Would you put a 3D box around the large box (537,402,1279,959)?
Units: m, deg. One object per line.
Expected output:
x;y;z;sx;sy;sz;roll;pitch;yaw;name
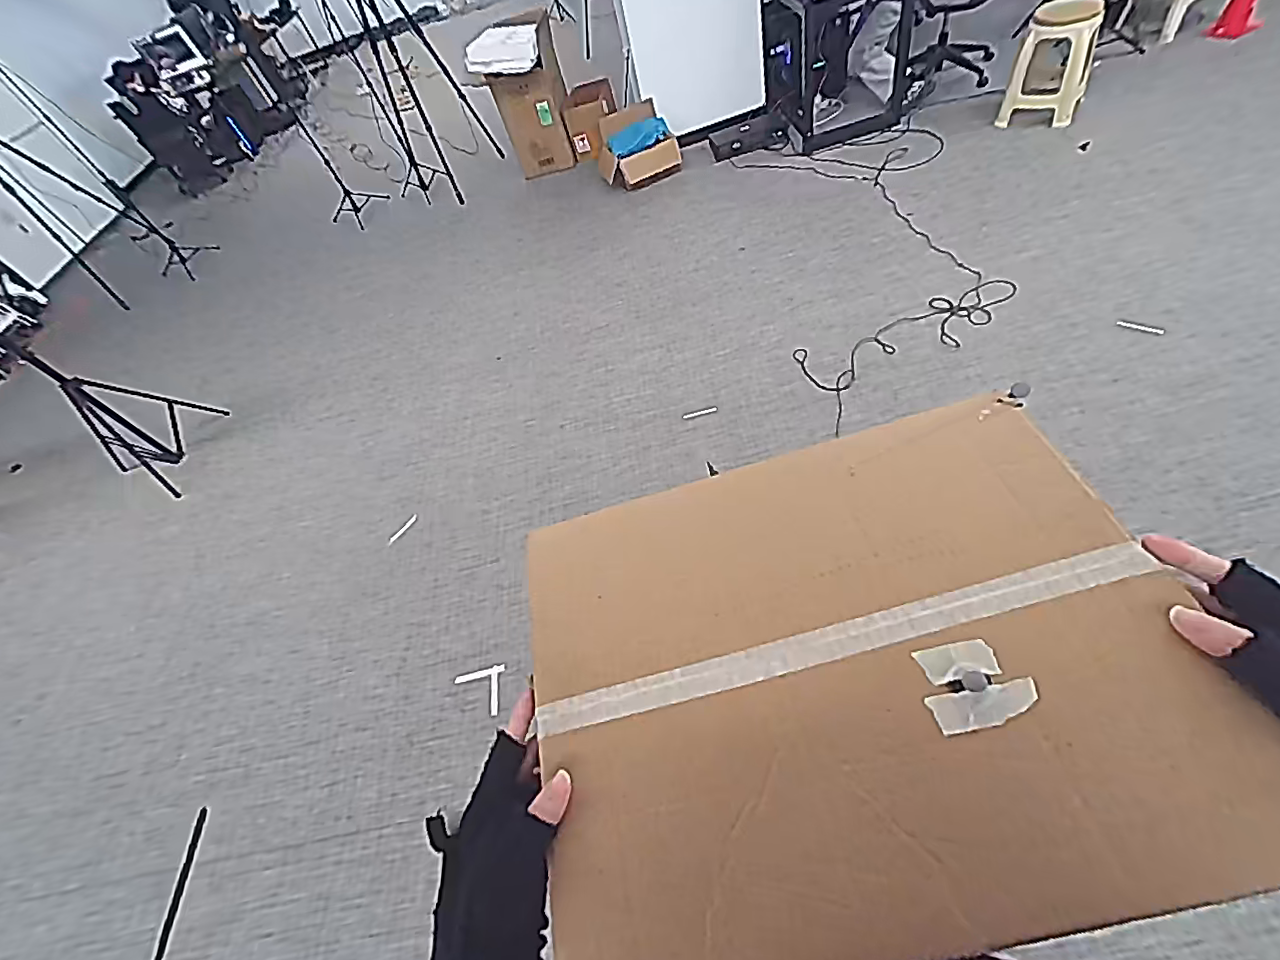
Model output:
0.161;0.195;0.485;0.408;0.320;0.320;-17;53;4;large box
